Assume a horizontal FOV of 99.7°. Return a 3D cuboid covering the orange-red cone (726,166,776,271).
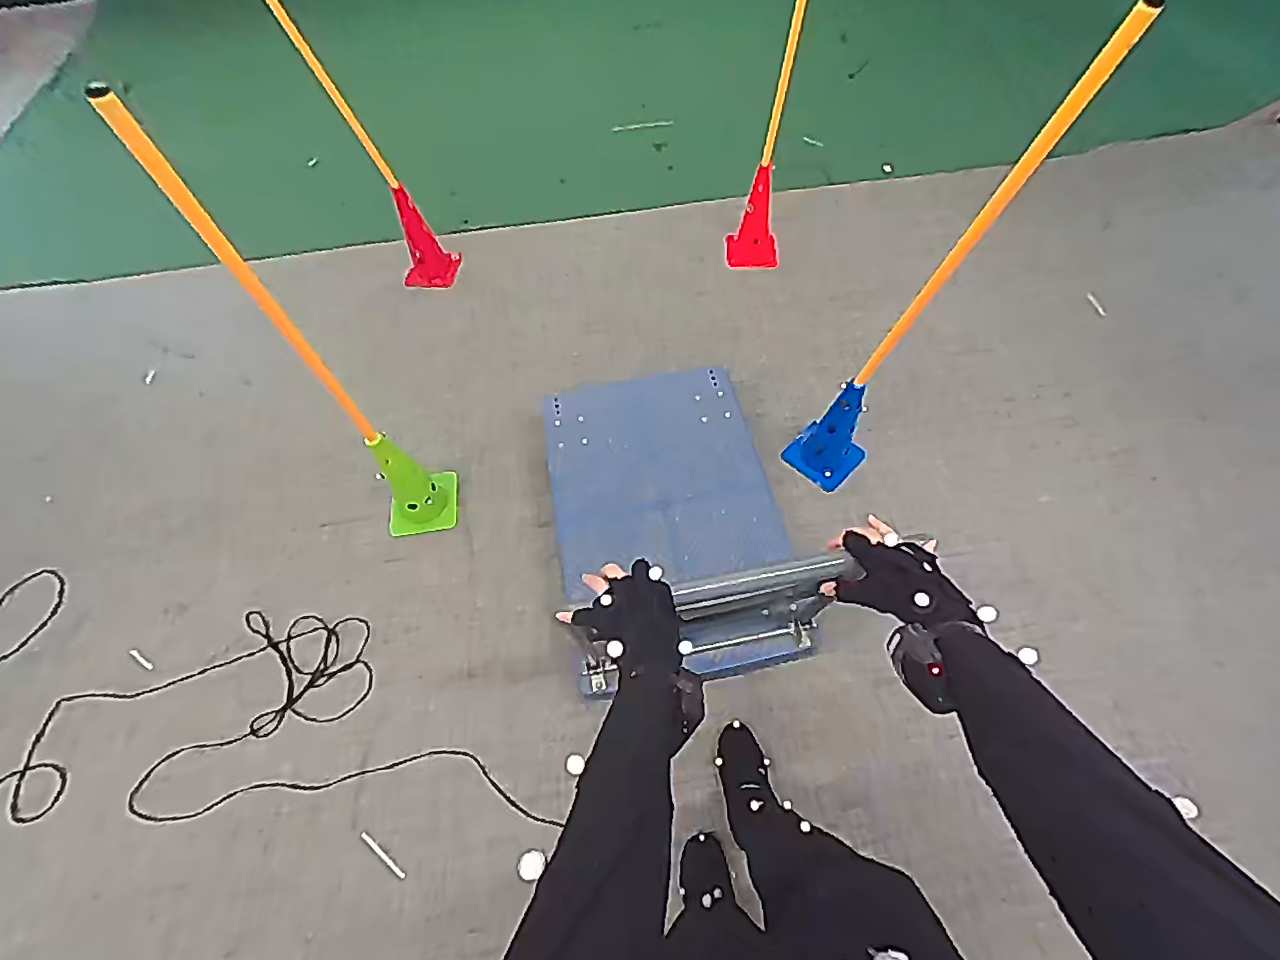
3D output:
[{"bbox_3d":[0.440,-0.998,2.038,0.198,0.360,0.199,1,61,4],"label":"orange-red cone"}]
